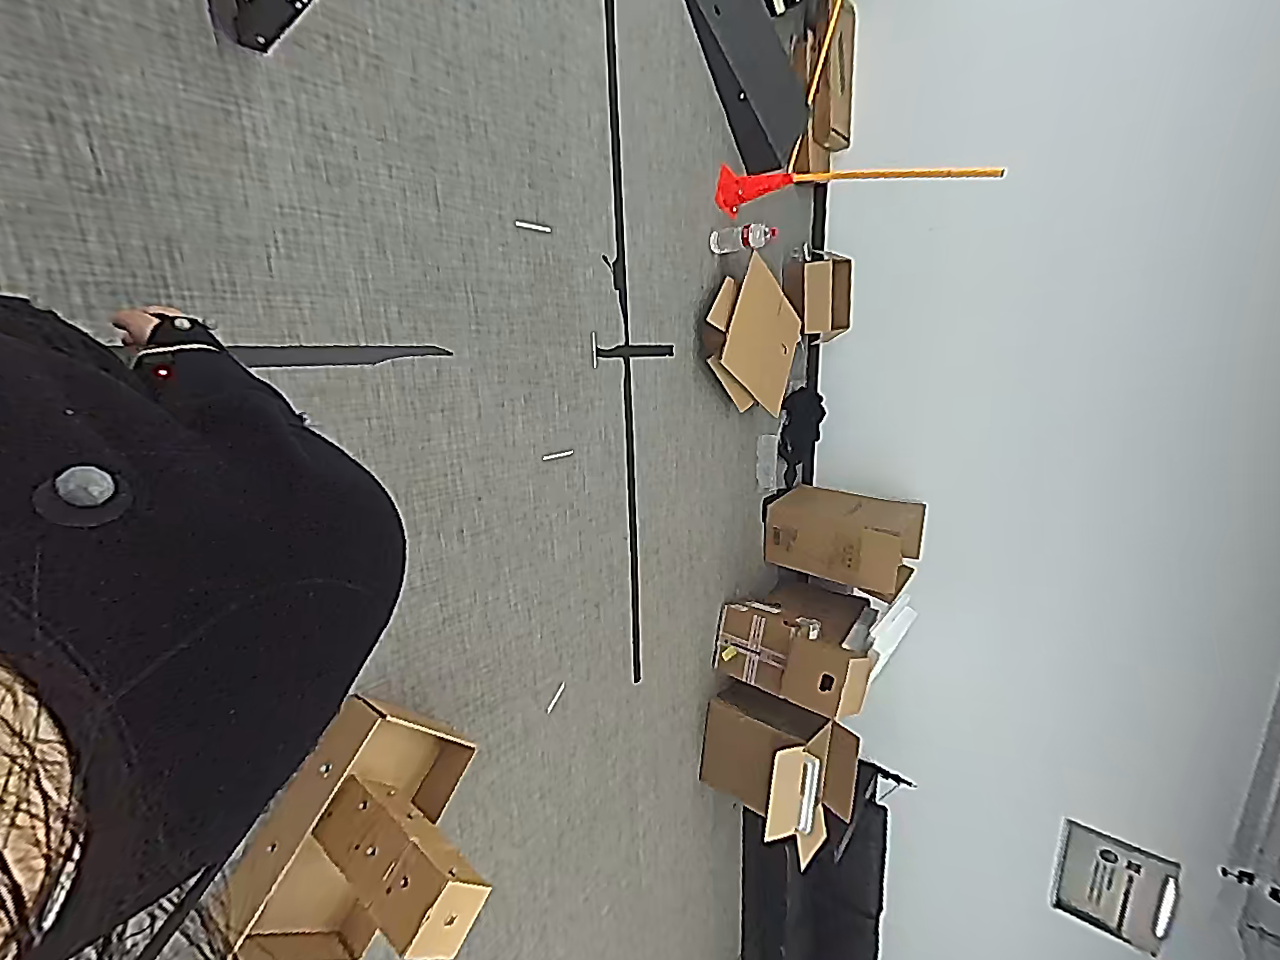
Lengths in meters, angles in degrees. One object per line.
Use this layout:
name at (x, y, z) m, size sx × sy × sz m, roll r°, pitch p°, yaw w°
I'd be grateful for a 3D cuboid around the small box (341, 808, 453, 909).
small box at (-0.641, 0.998, 1.423) m, size 0.168 × 0.176 × 0.179 m, roll -58°, pitch 137°, yaw -25°

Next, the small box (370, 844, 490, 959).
small box at (-0.514, 1.030, 1.326) m, size 0.168 × 0.176 × 0.179 m, roll -59°, pitch 138°, yaw -24°
